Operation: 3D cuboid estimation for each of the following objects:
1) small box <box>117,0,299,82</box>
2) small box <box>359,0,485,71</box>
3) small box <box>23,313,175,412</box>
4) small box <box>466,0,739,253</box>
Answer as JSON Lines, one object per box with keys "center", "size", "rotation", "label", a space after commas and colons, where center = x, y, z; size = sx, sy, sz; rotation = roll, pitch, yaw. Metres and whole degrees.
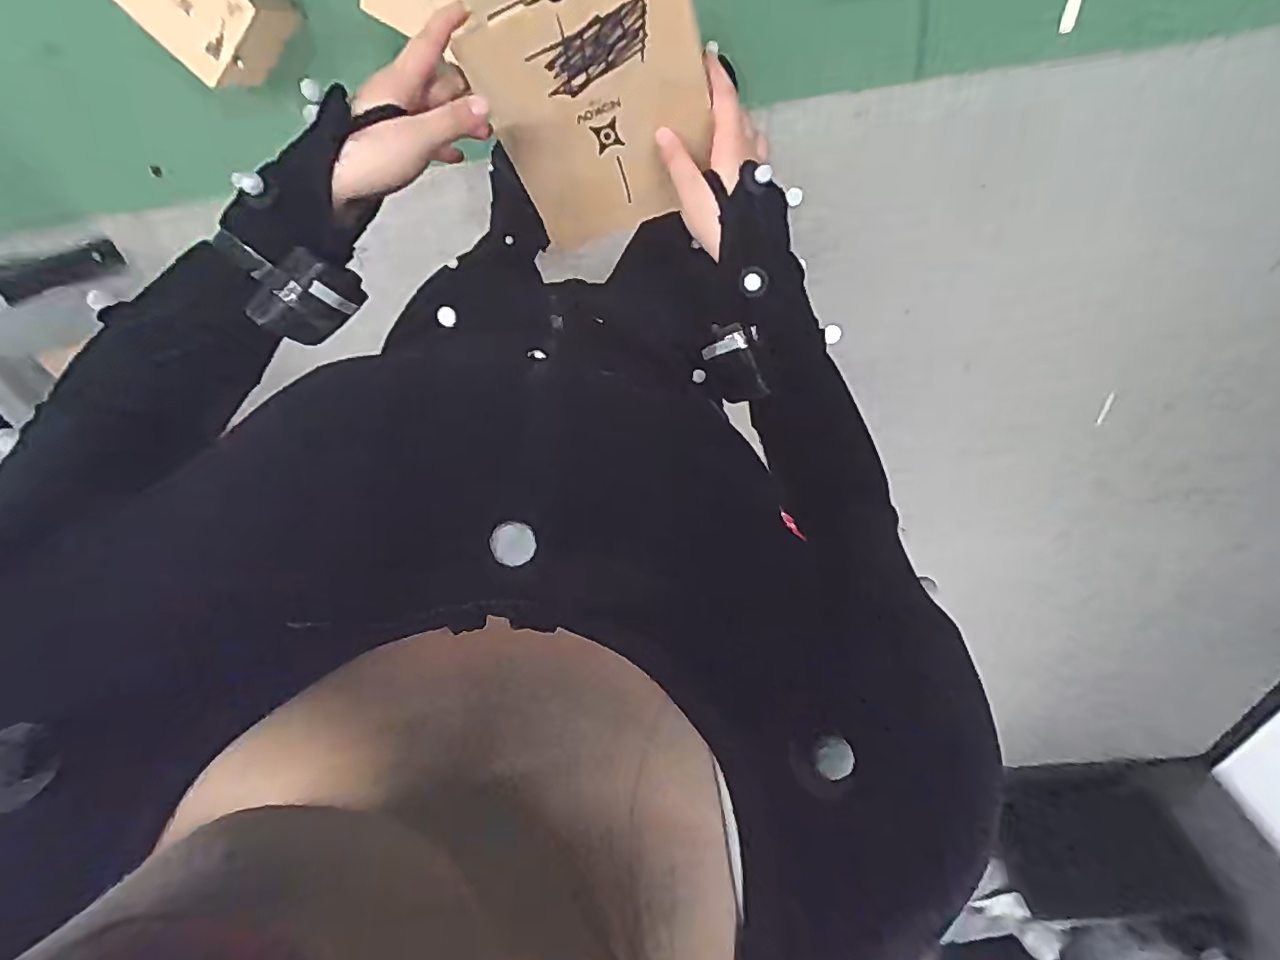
{"center": [-0.742, -0.825, 0.928], "size": [0.168, 0.176, 0.179], "rotation": [-33, 122, 22], "label": "small box"}
{"center": [-0.347, -0.843, 0.927], "size": [0.179, 0.176, 0.168], "rotation": [22, 124, -17], "label": "small box"}
{"center": [-1.307, -0.293, 1.329], "size": [0.179, 0.176, 0.168], "rotation": [-11, 128, 6], "label": "small box"}
{"center": [-0.023, -0.339, 0.461], "size": [0.168, 0.176, 0.179], "rotation": [-13, 146, 15], "label": "small box"}
